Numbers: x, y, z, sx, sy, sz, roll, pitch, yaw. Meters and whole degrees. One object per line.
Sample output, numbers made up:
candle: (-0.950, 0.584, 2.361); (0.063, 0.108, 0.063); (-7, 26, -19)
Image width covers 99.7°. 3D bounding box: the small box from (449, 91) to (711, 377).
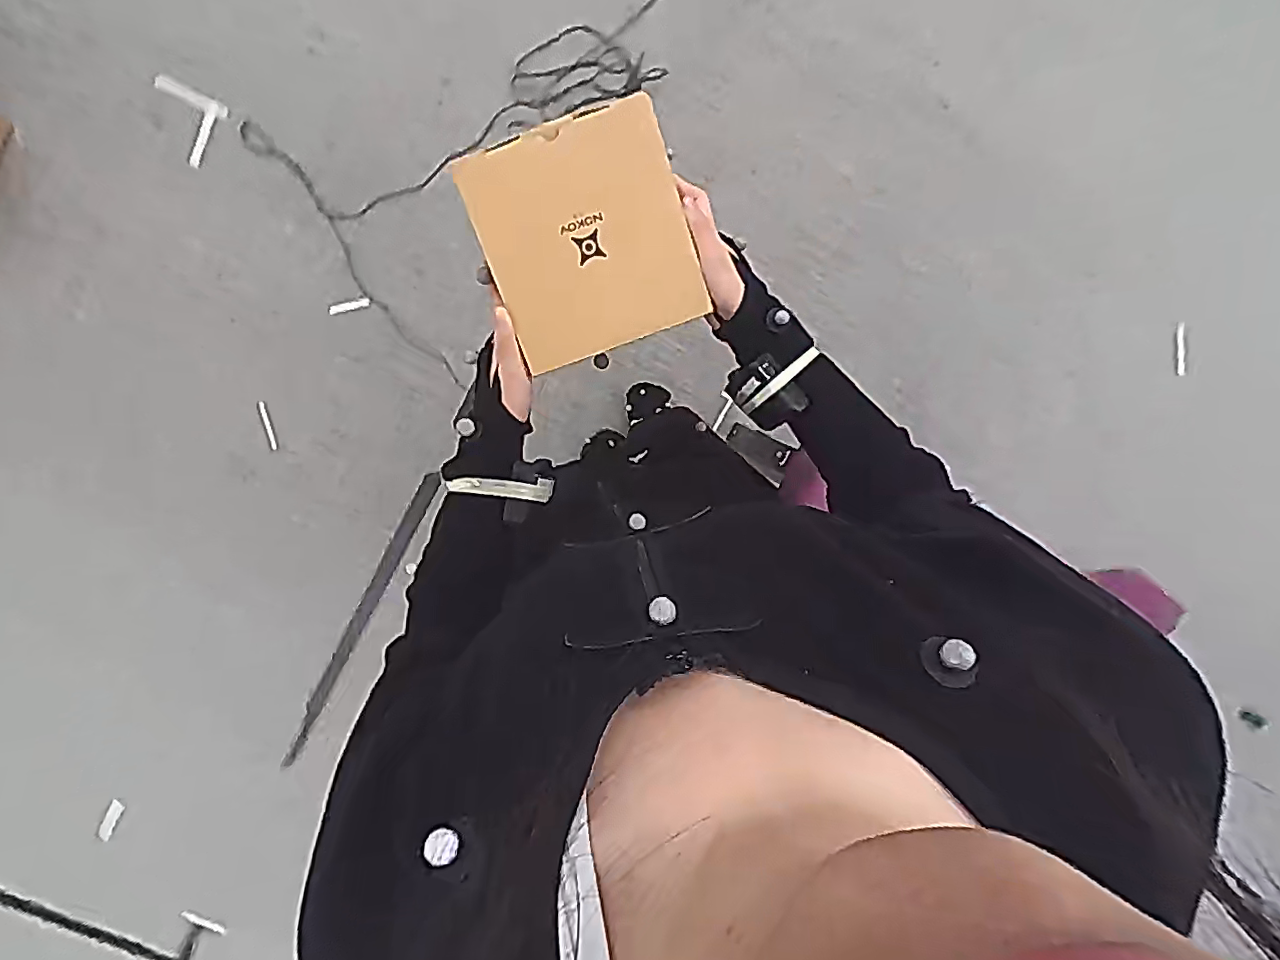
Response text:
small box: (-0.049, -0.211, 0.511); (0.168, 0.176, 0.179); (-21, 104, 0)
